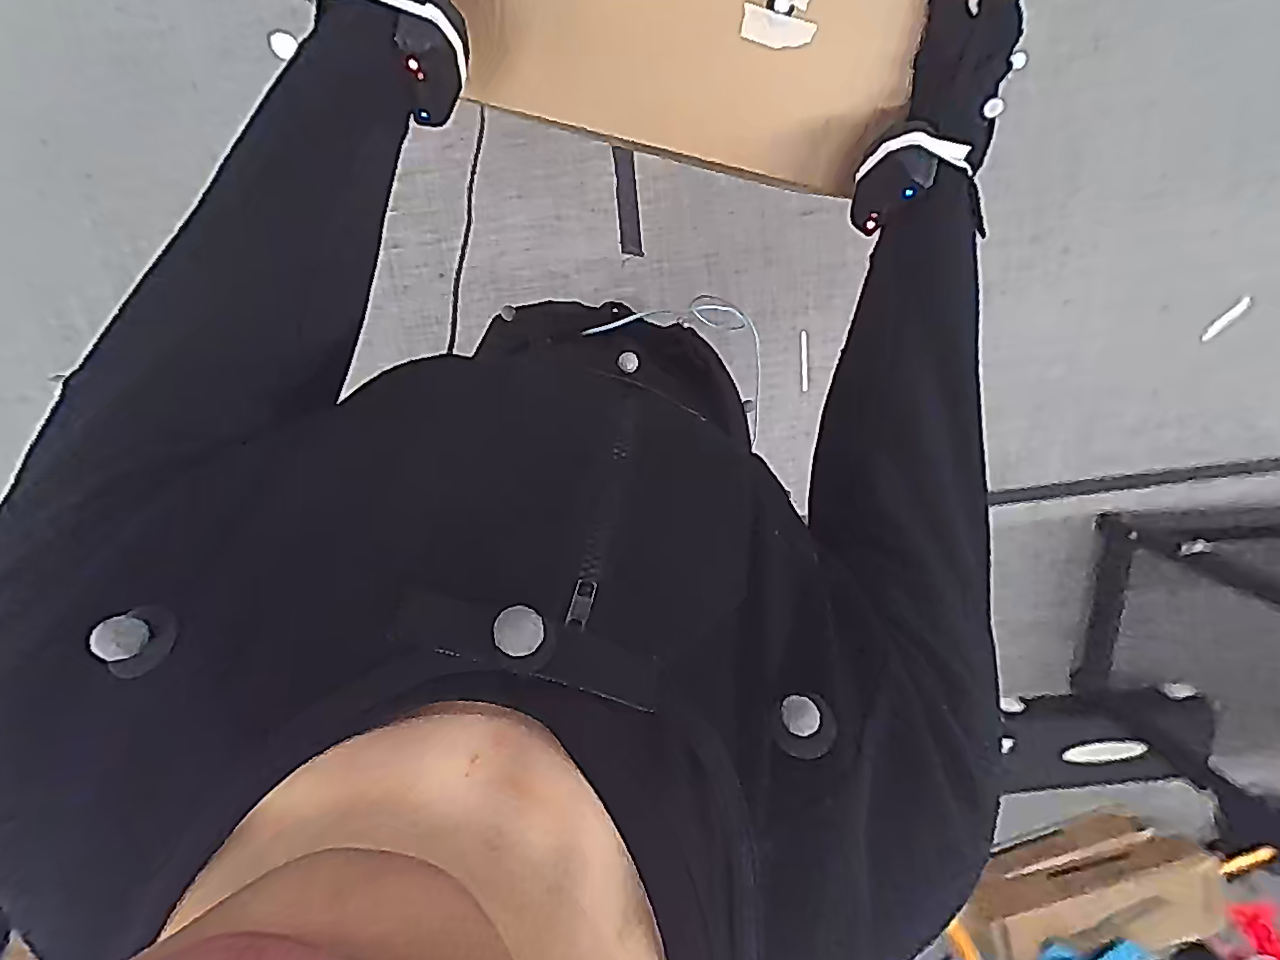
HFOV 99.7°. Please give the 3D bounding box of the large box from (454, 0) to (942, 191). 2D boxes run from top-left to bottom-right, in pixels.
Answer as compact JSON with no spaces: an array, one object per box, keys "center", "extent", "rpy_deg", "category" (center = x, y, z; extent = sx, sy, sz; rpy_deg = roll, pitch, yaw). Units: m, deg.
[{"center":[0.058,-0.508,0.551],"extent":[0.408,0.320,0.320],"rpy_deg":[11,120,-4],"category":"large box"}]
